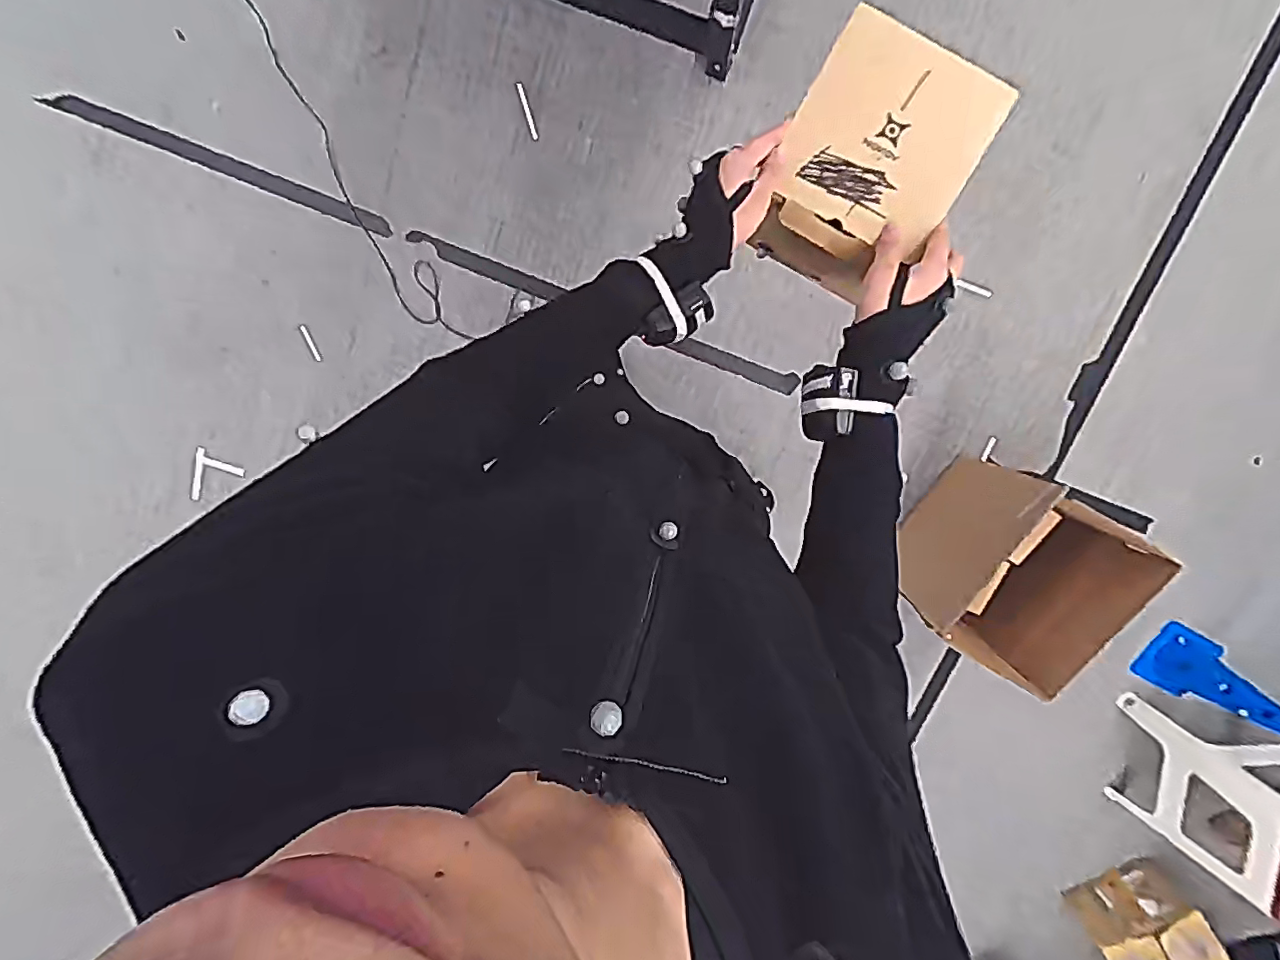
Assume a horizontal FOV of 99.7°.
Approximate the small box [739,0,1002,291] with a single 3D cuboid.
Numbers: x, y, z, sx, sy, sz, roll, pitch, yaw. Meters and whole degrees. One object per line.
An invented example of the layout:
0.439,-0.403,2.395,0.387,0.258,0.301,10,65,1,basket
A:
0.217,-0.325,0.569,0.168,0.176,0.179,29,98,0,small box
